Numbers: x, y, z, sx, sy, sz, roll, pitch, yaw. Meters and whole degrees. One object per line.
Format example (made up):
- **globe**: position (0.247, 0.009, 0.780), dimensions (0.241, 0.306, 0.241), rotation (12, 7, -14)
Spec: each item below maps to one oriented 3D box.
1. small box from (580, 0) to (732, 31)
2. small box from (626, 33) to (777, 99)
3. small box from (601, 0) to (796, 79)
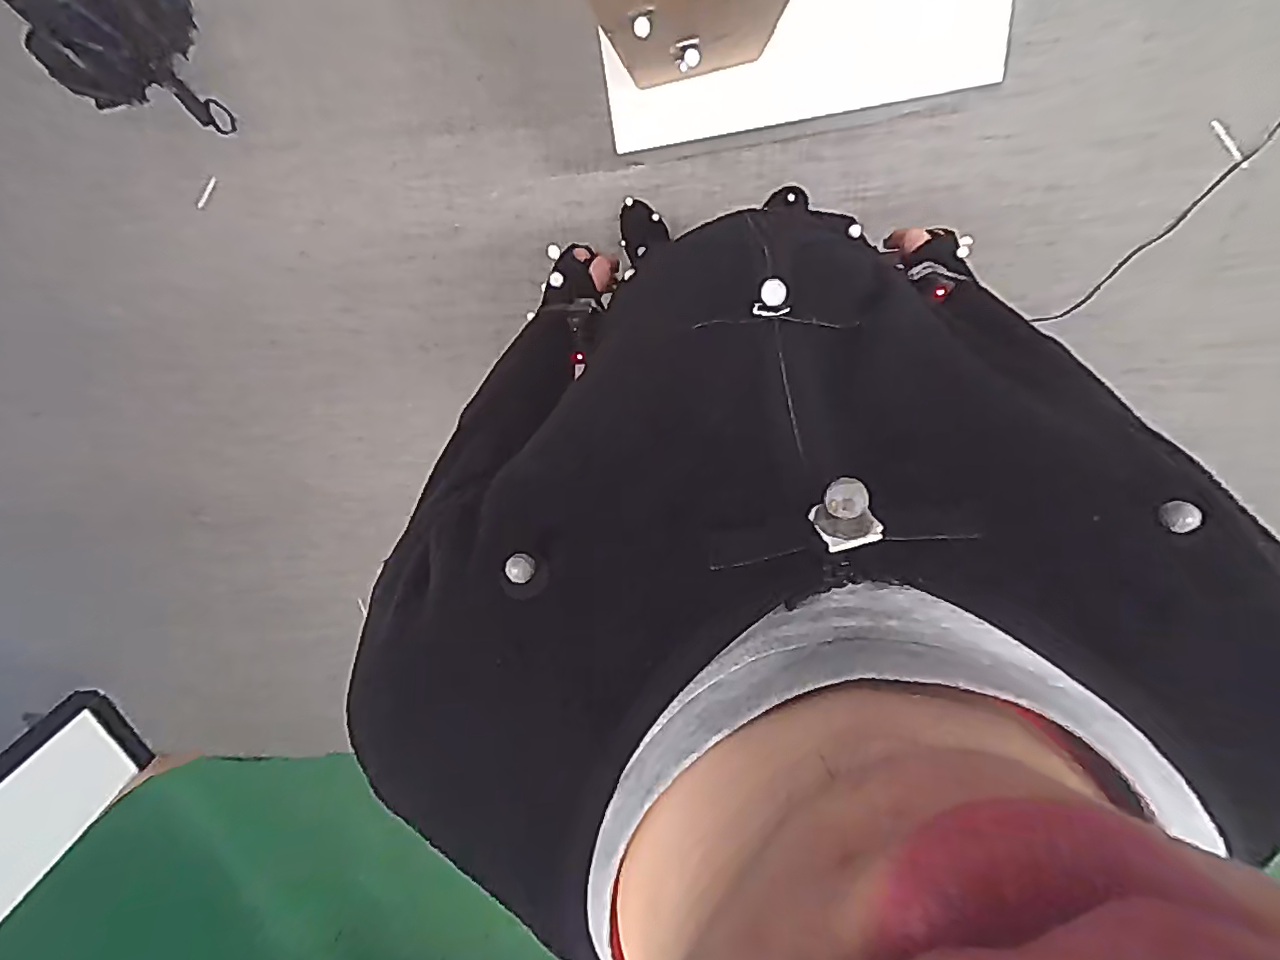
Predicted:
- **small box**: position (0.022, -0.413, 0.329), dimensions (0.168, 0.176, 0.179), rotation (-9, 115, 11)
- **small box**: position (0.057, -0.567, 0.617), dimensions (0.168, 0.176, 0.179), rotation (-7, 118, 10)
- **small box**: position (0.040, -0.489, 0.474), dimensions (0.168, 0.176, 0.179), rotation (-8, 117, 11)
